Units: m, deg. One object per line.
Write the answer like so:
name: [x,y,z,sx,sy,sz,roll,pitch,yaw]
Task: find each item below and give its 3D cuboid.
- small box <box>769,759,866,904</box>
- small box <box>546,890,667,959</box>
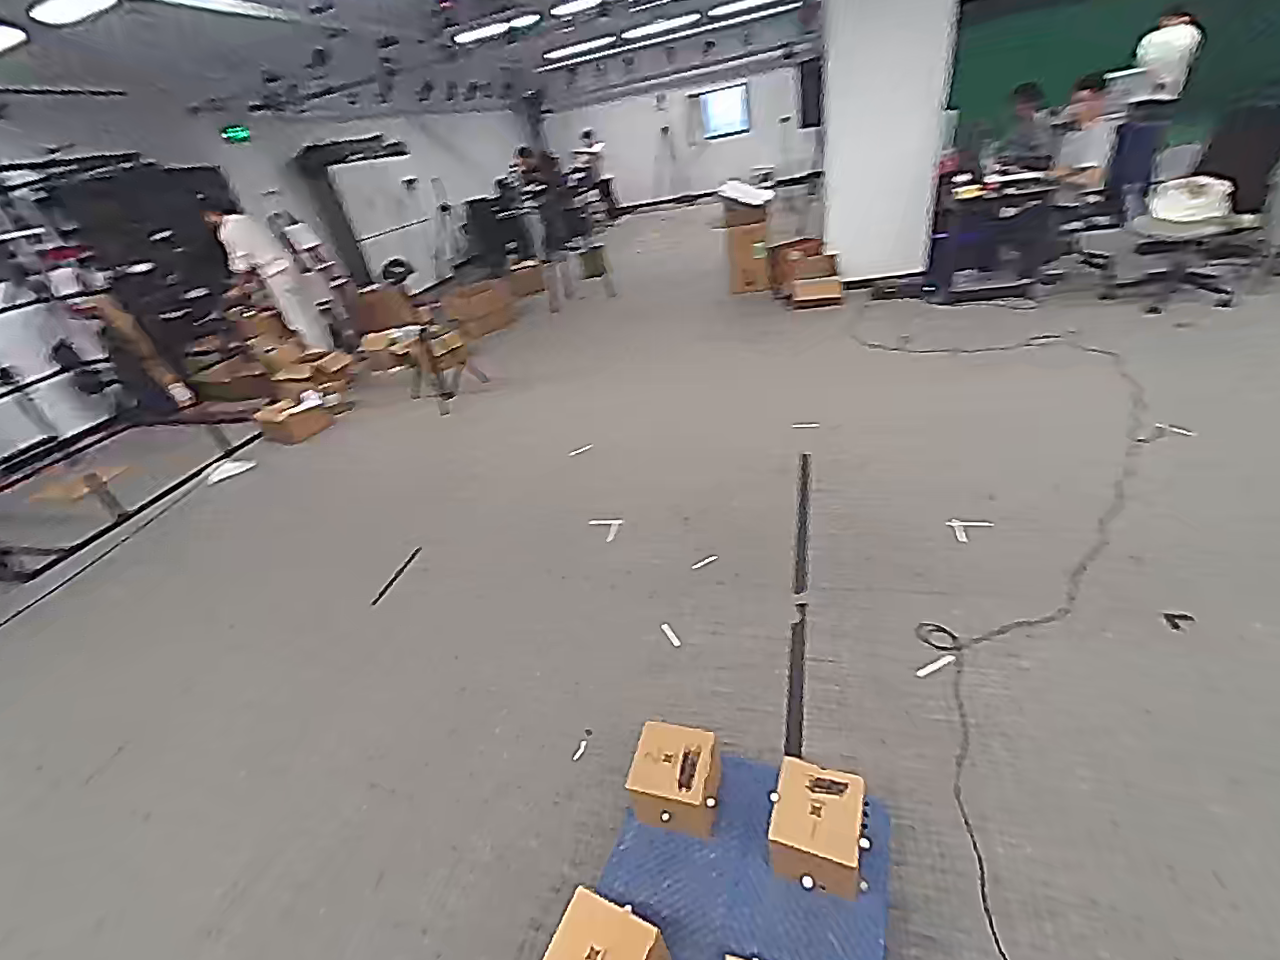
small box: [0.373,0.731,1.130,0.168,0.176,0.179,4,37,25]
small box: [-0.064,0.917,0.998,0.179,0.176,0.168,8,37,27]
